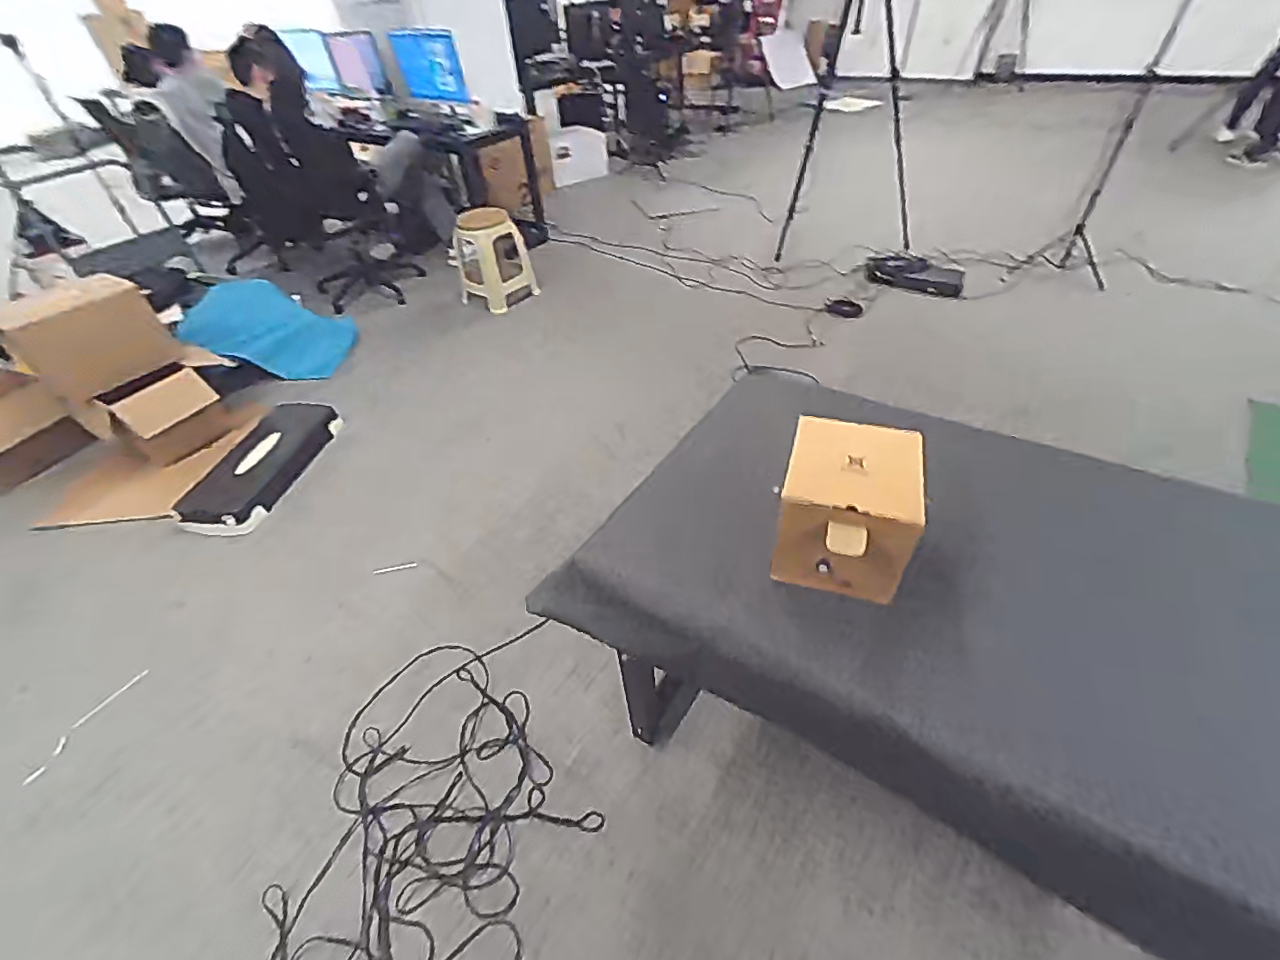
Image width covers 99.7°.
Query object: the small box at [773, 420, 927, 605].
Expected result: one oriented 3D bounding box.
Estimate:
[{"bbox_3d":[0.288,0.043,0.761,0.168,0.176,0.179,11,45,16],"label":"small box"}]
